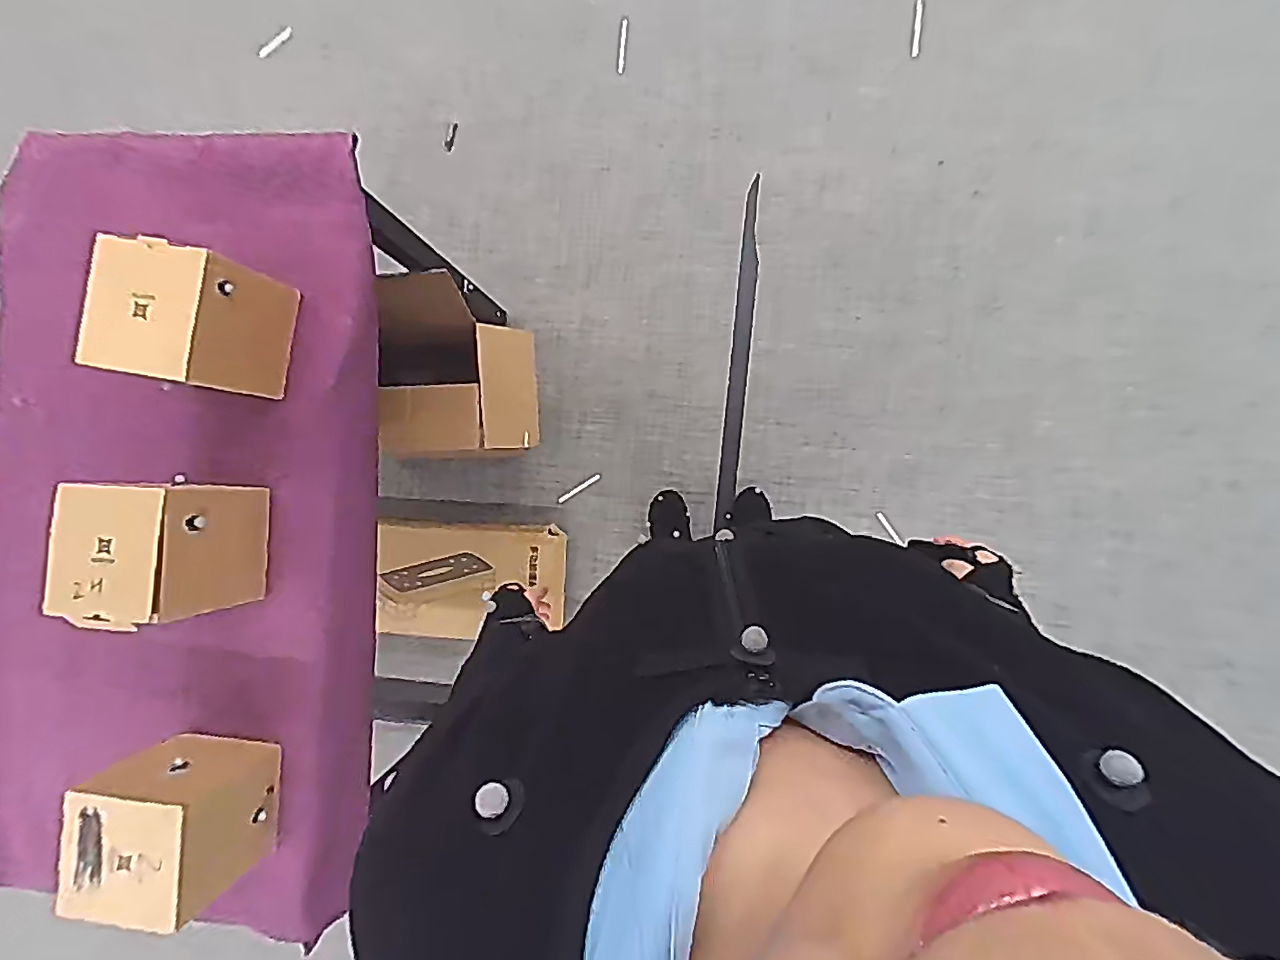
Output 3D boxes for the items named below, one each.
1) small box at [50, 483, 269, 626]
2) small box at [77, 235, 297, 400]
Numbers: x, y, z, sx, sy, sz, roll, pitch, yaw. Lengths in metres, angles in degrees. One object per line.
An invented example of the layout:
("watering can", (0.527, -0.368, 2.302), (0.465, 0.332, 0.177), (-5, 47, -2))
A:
("small box", (-0.670, 0.096, 0.773), (0.168, 0.176, 0.179), (2, 90, 9))
("small box", (-0.631, -0.220, 0.774), (0.168, 0.176, 0.179), (10, 90, 6))
